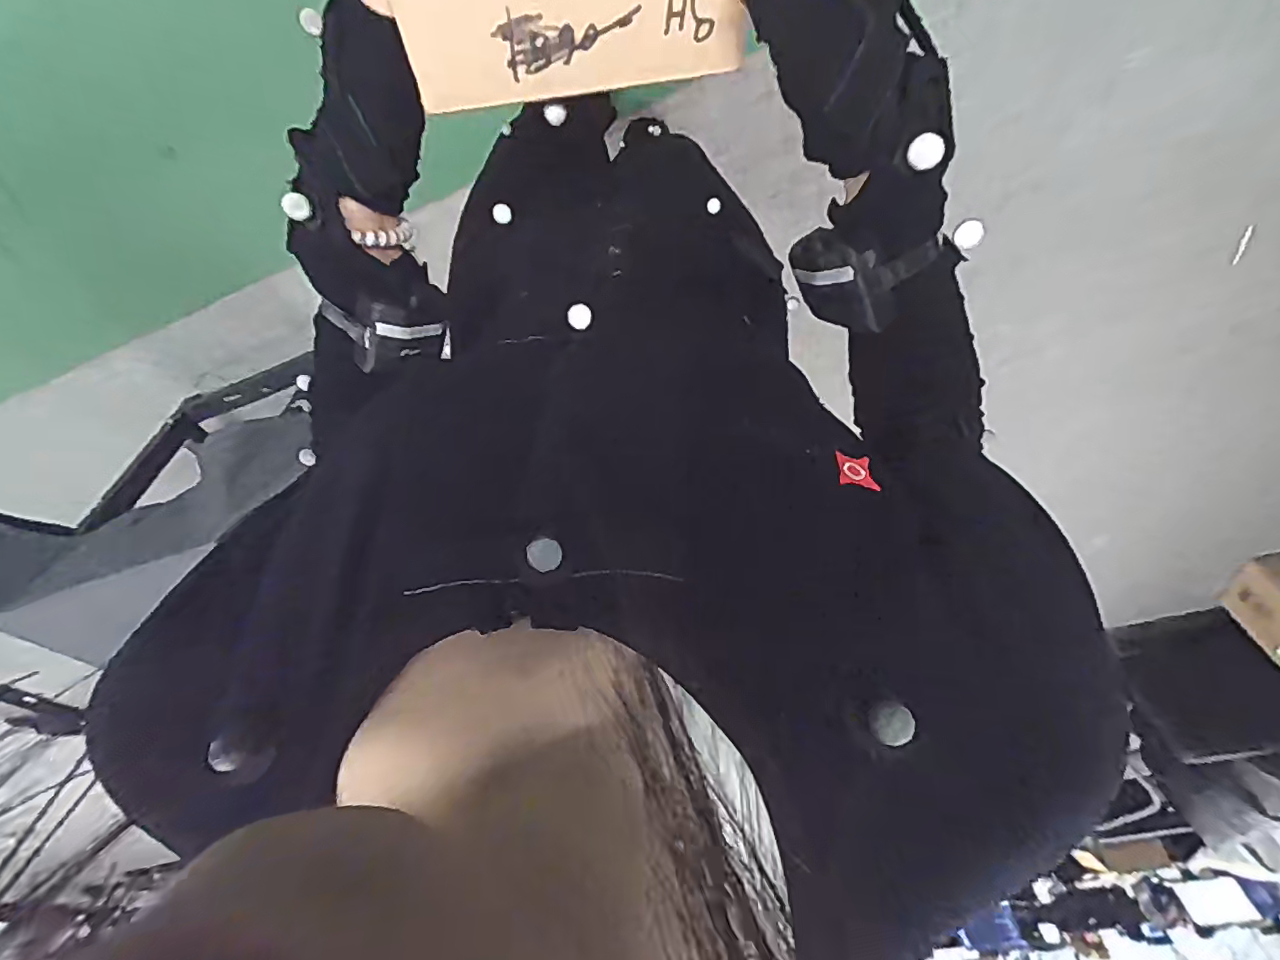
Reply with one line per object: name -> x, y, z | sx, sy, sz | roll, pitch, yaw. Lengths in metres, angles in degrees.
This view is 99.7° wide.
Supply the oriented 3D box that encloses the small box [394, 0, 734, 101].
small box -> -0.045, -0.324, 0.283 | 0.168, 0.176, 0.179 | -6, 133, 2
